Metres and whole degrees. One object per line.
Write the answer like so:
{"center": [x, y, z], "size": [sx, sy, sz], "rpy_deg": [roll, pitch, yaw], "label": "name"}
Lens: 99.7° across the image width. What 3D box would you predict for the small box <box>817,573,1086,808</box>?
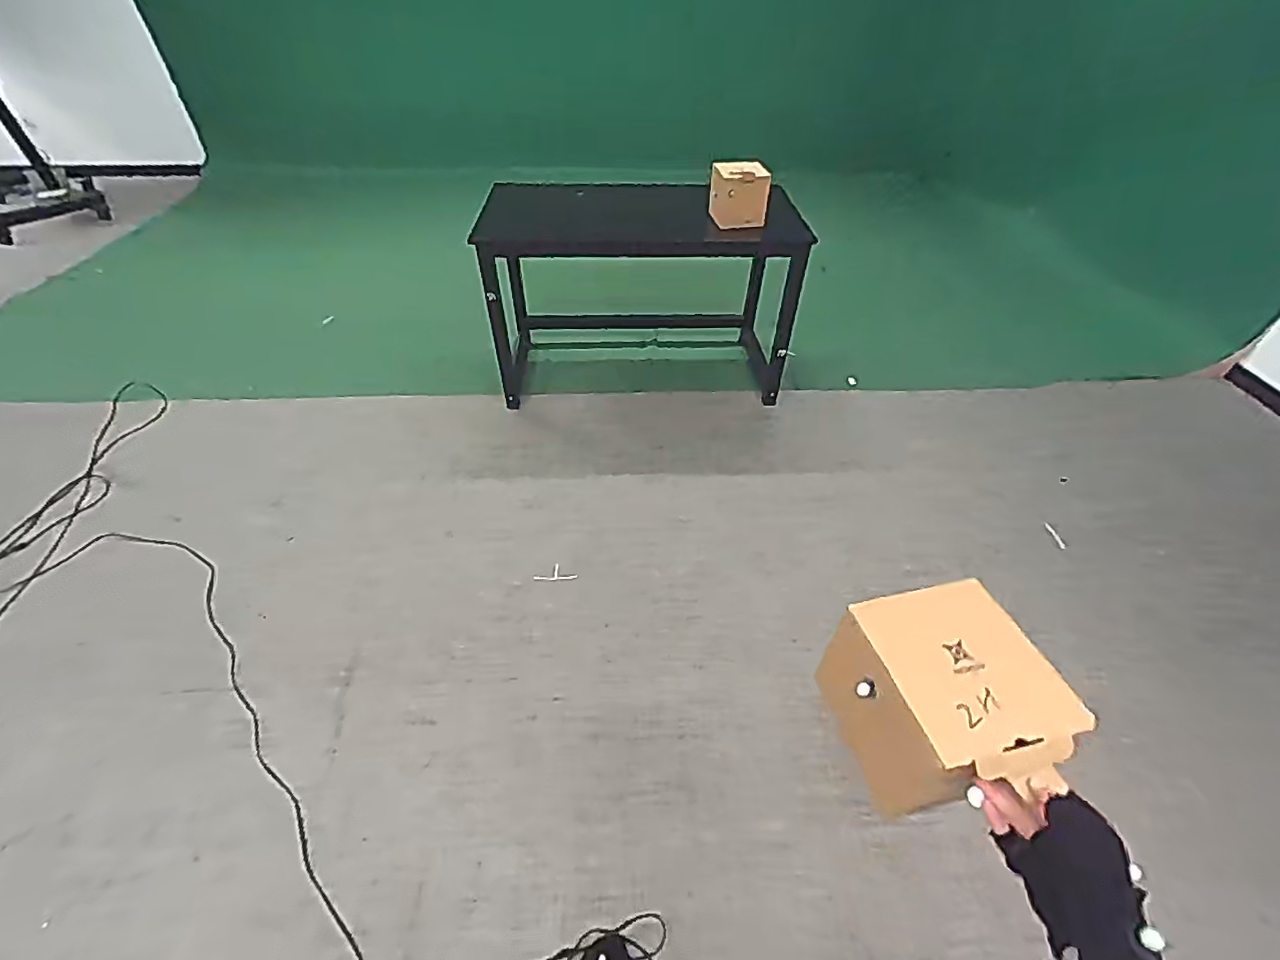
{"center": [0.323, 0.235, 0.611], "size": [0.168, 0.176, 0.179], "rpy_deg": [-9, 45, -10], "label": "small box"}
